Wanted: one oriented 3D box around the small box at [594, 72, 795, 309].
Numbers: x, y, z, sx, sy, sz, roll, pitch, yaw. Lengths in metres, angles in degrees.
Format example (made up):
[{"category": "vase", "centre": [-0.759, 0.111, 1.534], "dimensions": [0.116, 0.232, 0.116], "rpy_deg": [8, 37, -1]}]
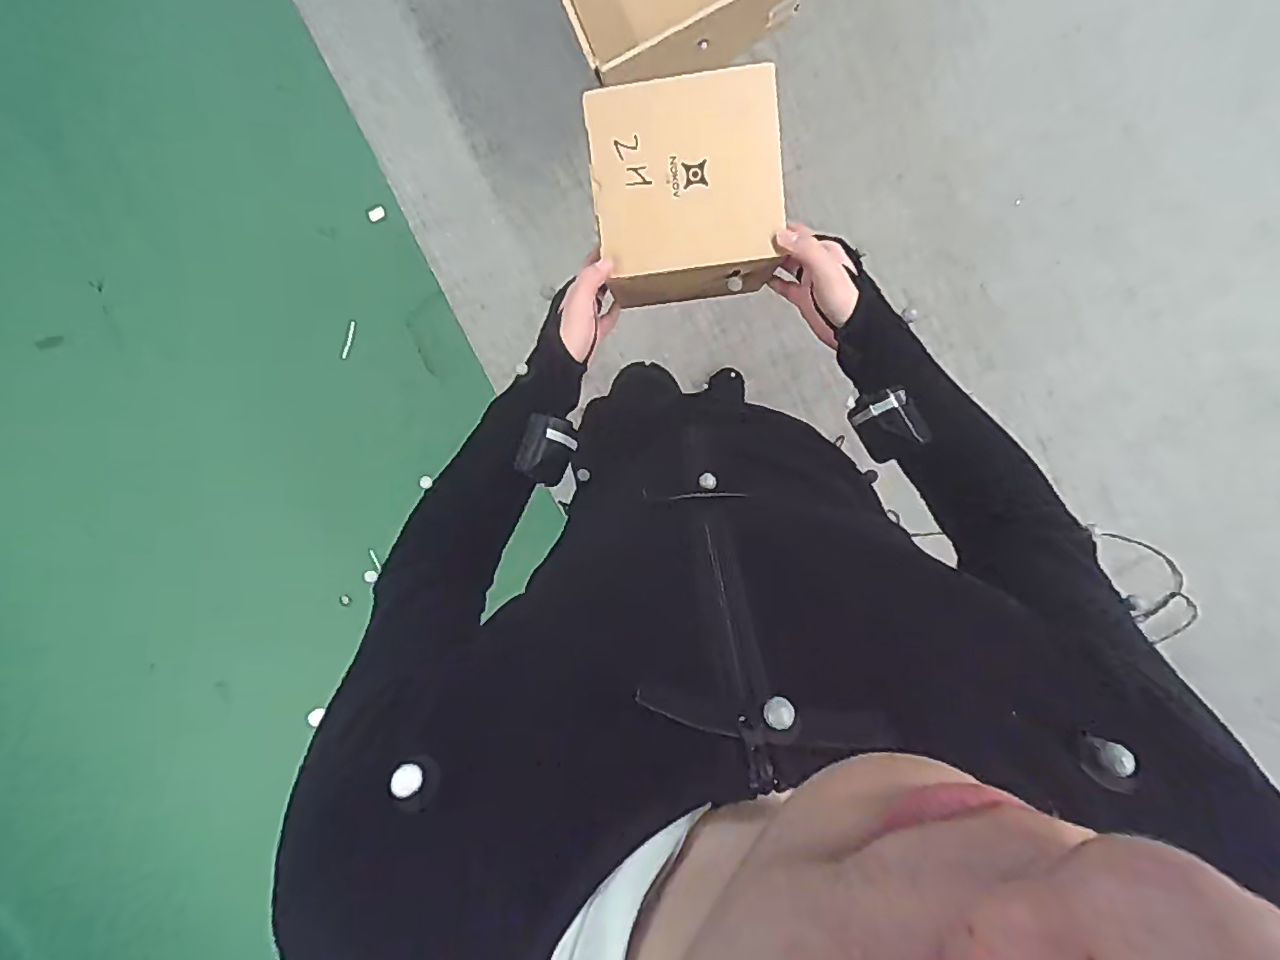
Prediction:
[{"category": "small box", "centre": [0.054, -0.286, 0.573], "dimensions": [0.179, 0.176, 0.168], "rpy_deg": [-6, 98, 4]}]
